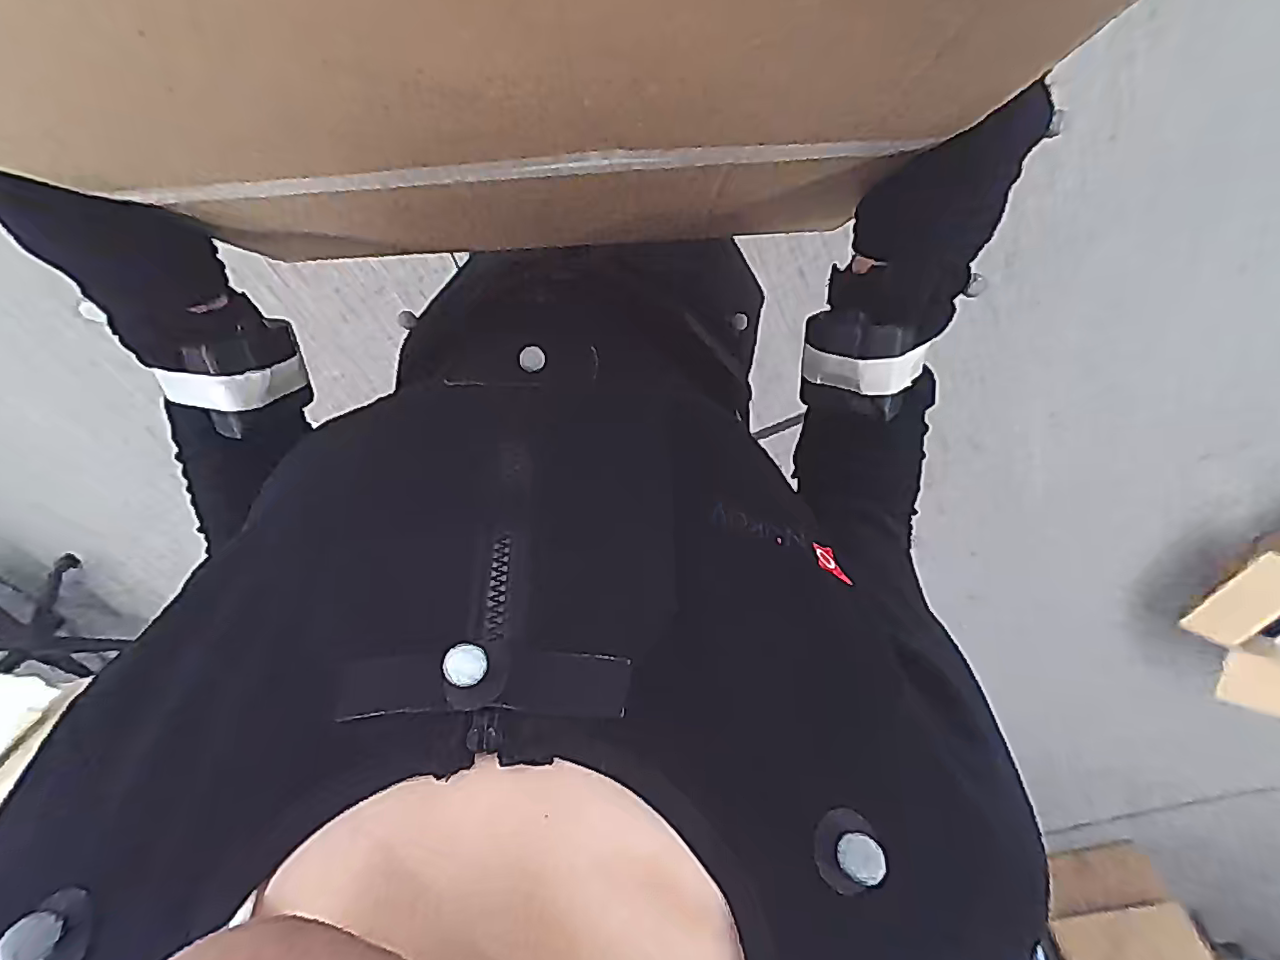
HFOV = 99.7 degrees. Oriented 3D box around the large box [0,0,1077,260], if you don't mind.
[{"bbox_3d":[-0.071,-0.301,0.226,0.408,0.320,0.320,-4,101,1],"label":"large box"}]
